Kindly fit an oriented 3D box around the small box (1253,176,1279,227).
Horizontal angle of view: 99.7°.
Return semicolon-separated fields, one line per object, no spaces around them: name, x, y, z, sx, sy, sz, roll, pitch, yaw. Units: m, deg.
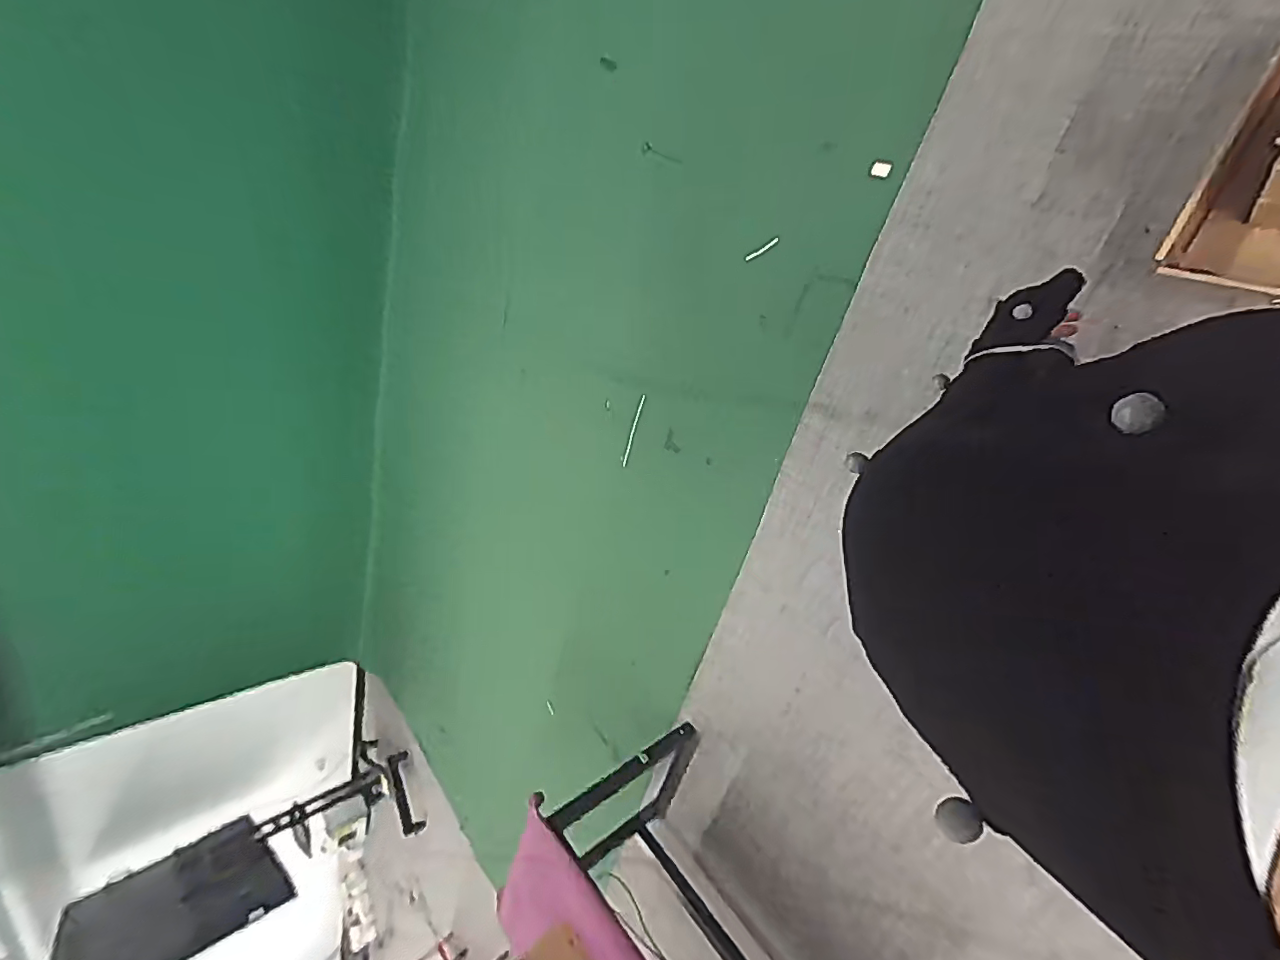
small box;1.080;-0.482;0.807;0.168;0.176;0.179;35;120;35

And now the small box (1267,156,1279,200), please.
small box;0.969;-0.465;0.690;0.168;0.176;0.179;34;119;36

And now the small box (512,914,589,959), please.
small box;-0.248;1.360;1.495;0.168;0.176;0.179;43;124;34
